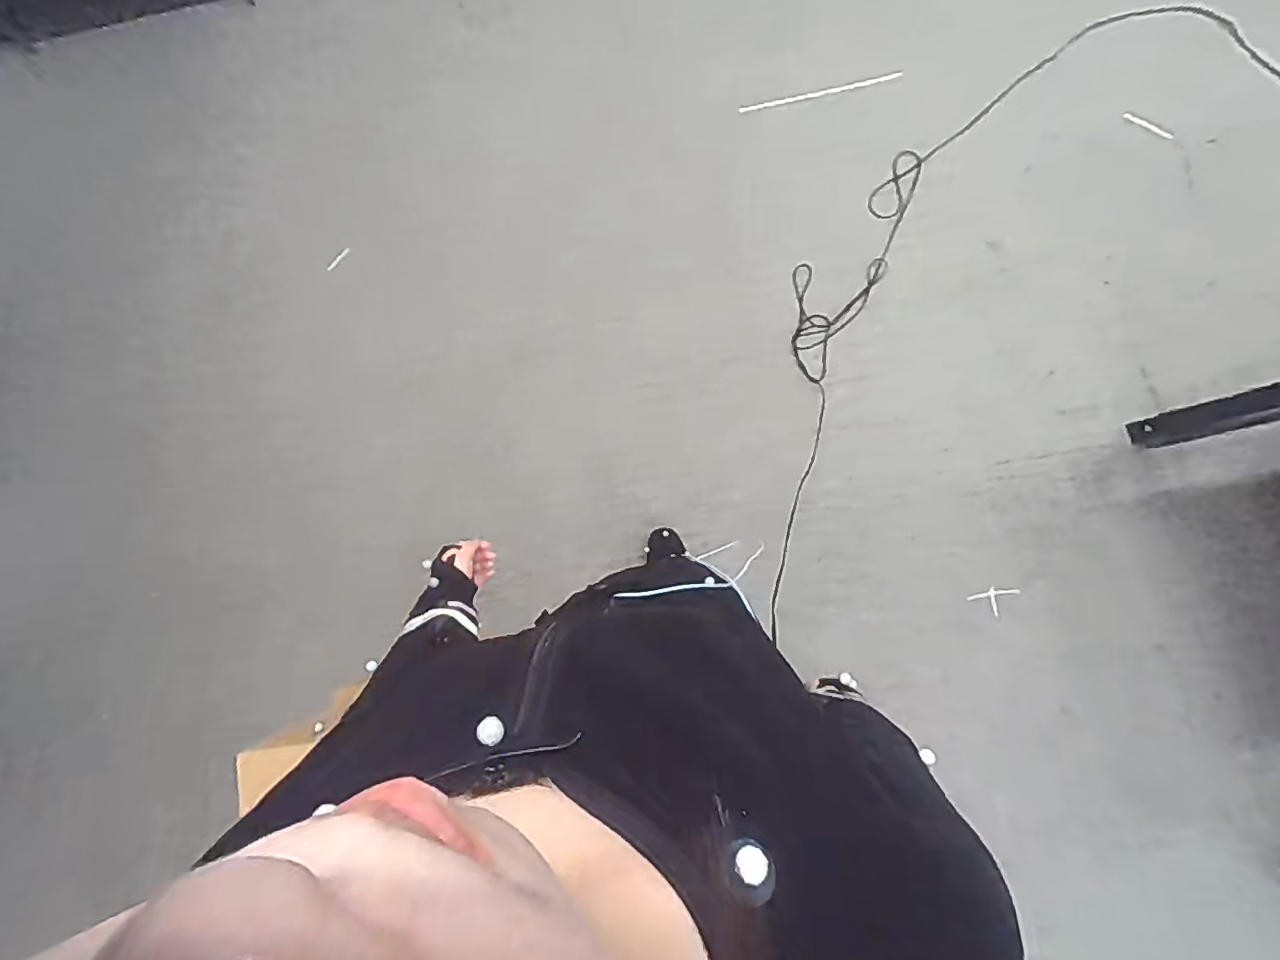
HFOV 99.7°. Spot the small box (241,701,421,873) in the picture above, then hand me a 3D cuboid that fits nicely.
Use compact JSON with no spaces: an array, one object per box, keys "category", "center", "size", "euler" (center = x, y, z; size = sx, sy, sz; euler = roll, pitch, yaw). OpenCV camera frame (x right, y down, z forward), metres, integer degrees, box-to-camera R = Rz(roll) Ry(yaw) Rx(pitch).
[{"category":"small box","center":[-0.446,0.445,0.810],"size":[0.179,0.176,0.168],"euler":[-9,84,4]}]

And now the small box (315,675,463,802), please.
[{"category":"small box","center":[-0.443,0.464,0.972],"size":[0.179,0.176,0.168],"euler":[-10,84,4]}]

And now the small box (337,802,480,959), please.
[{"category":"small box","center":[-0.391,0.688,0.942],"size":[0.179,0.176,0.168],"euler":[-9,81,2]}]
